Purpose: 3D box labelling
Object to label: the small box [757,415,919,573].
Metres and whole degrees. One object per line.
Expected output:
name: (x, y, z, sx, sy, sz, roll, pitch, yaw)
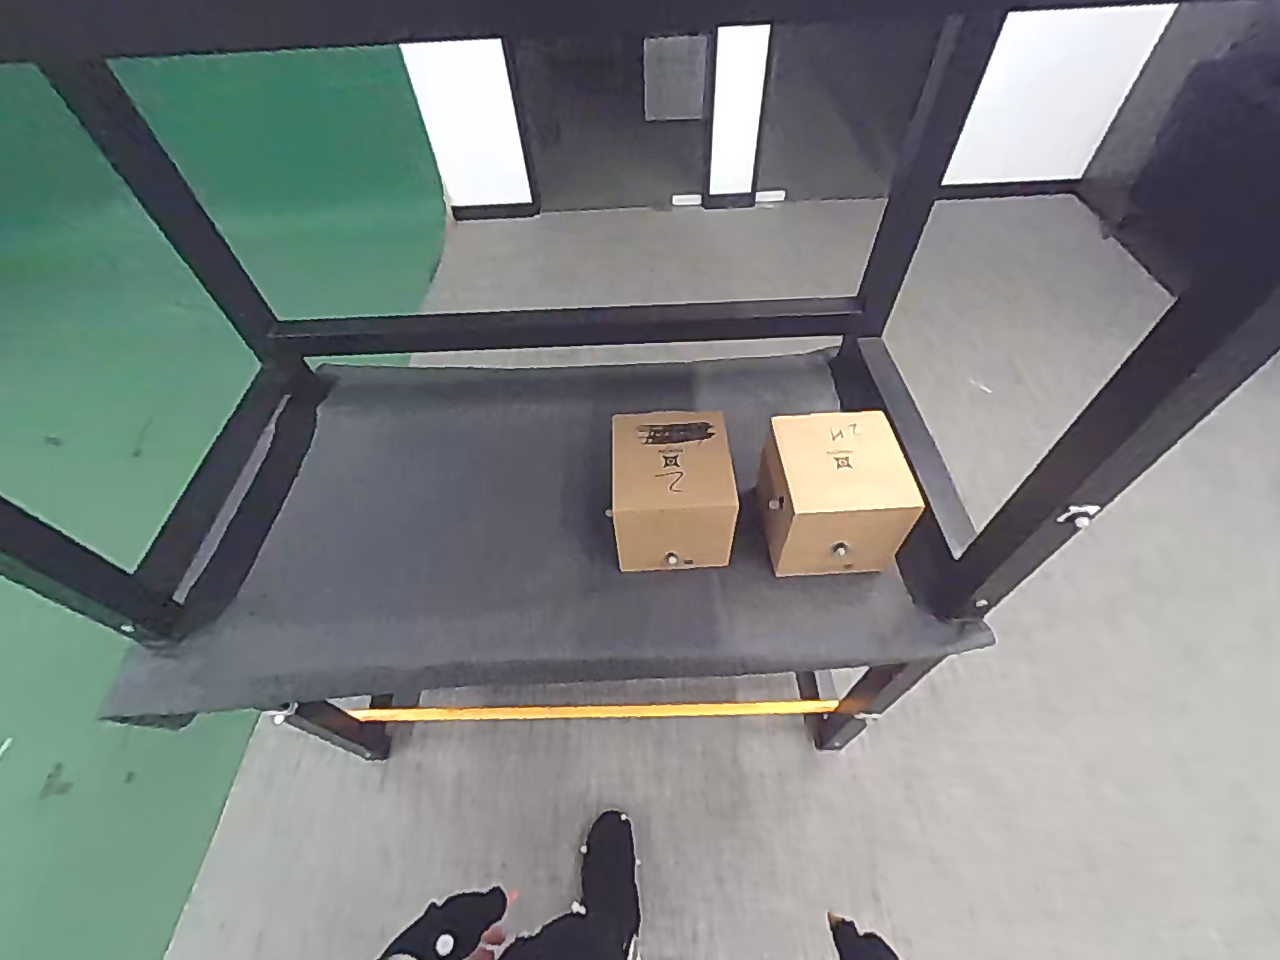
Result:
small box: (0.276, 0.028, 0.799, 0.168, 0.176, 0.179, -3, 51, 0)
